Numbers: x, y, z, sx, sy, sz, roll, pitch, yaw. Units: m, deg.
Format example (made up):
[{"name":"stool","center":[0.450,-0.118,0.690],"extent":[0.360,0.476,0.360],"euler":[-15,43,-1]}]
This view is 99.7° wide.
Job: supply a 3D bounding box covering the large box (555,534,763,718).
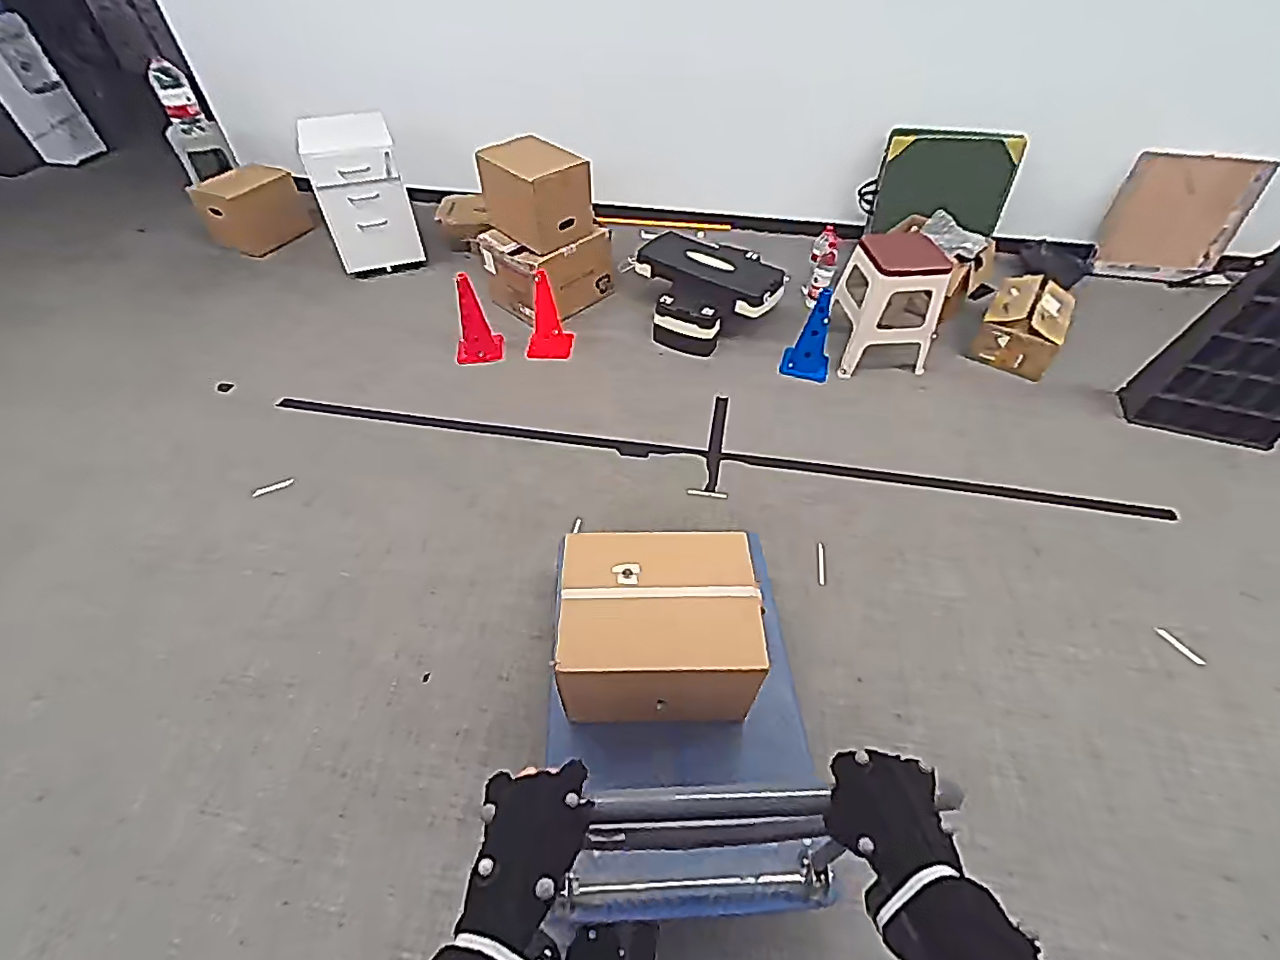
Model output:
[{"name":"large box","center":[0.036,0.338,1.230],"extent":[0.408,0.320,0.320],"euler":[-1,50,0]}]
